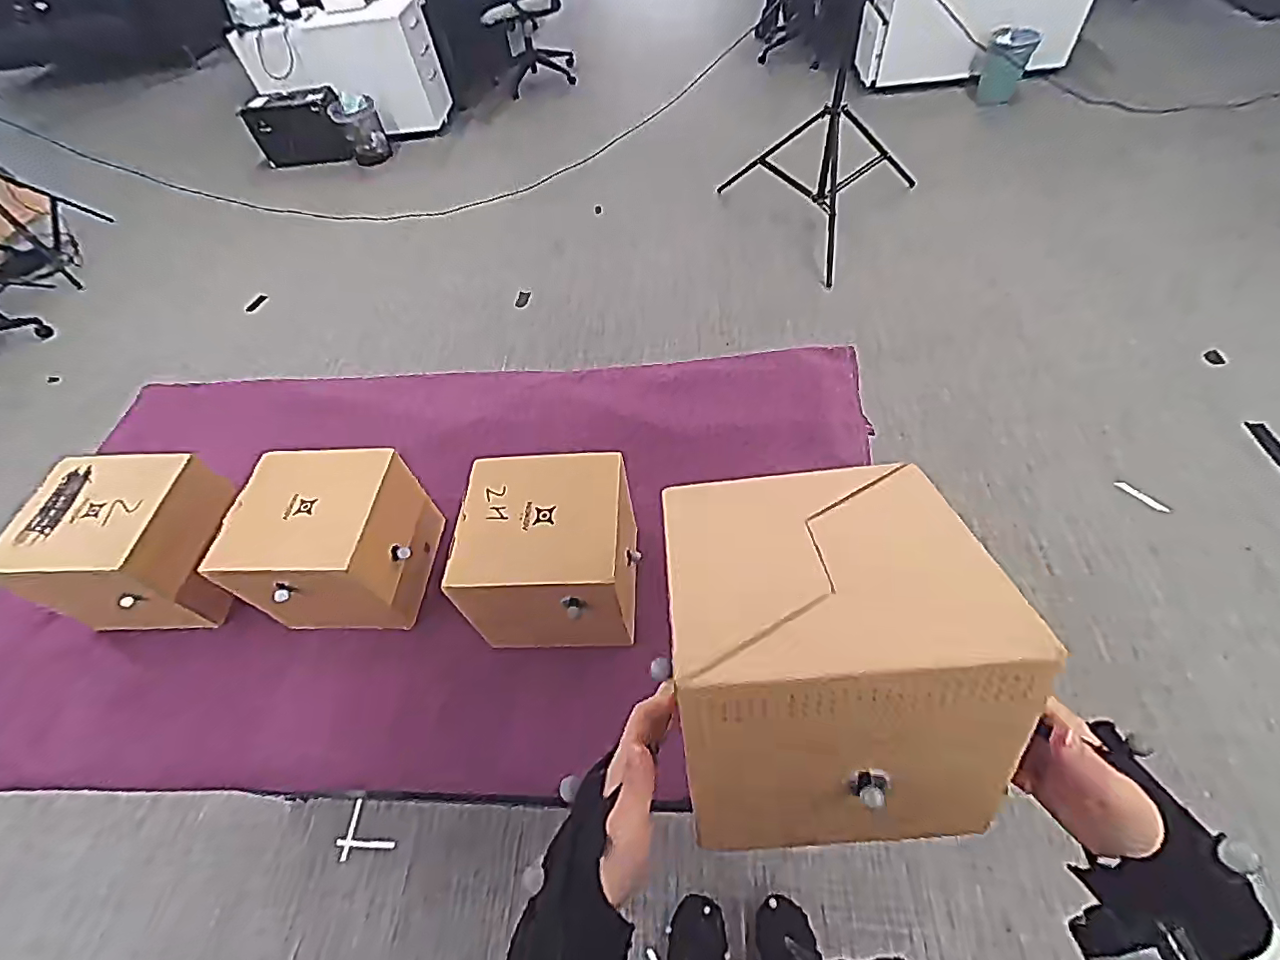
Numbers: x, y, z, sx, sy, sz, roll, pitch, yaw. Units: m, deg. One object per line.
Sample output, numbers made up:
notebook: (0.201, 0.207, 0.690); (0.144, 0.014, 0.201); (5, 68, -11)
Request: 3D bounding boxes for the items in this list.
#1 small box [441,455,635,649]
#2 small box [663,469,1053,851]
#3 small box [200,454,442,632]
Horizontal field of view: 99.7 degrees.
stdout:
small box: (-0.100, 0.089, 0.634); (0.179, 0.176, 0.168); (-3, 52, 6)
small box: (0.110, 0.108, 0.350); (0.179, 0.176, 0.168); (-7, 34, 4)
small box: (-0.375, 0.083, 0.681); (0.179, 0.176, 0.168); (-2, 54, 7)
